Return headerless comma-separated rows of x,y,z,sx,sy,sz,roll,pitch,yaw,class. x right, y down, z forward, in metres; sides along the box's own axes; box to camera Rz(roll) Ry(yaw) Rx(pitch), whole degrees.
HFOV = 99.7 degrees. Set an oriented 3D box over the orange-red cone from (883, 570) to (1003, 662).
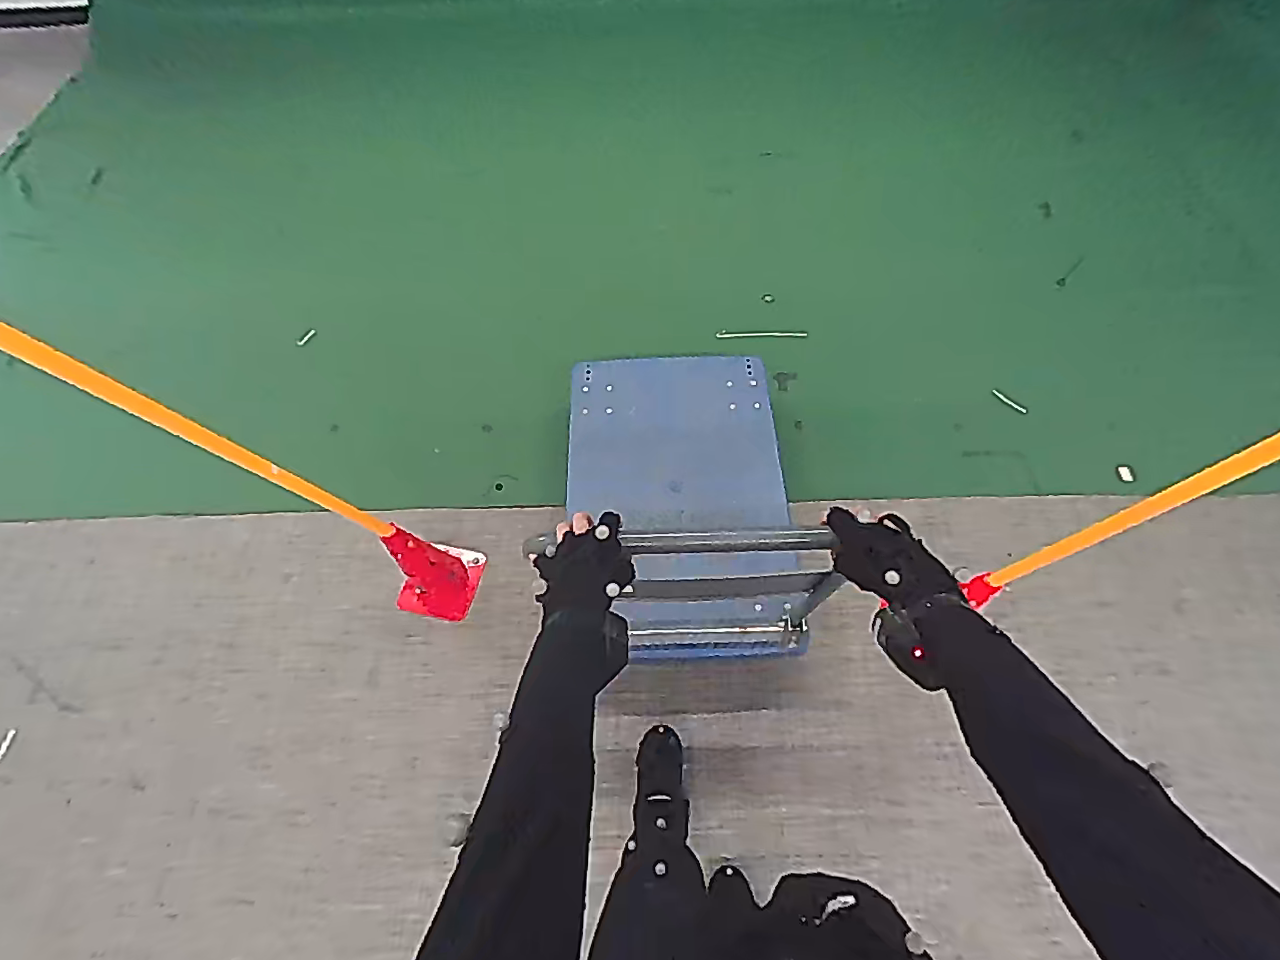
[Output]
0.738,0.288,1.272,0.198,0.360,0.199,9,63,6,orange-red cone
